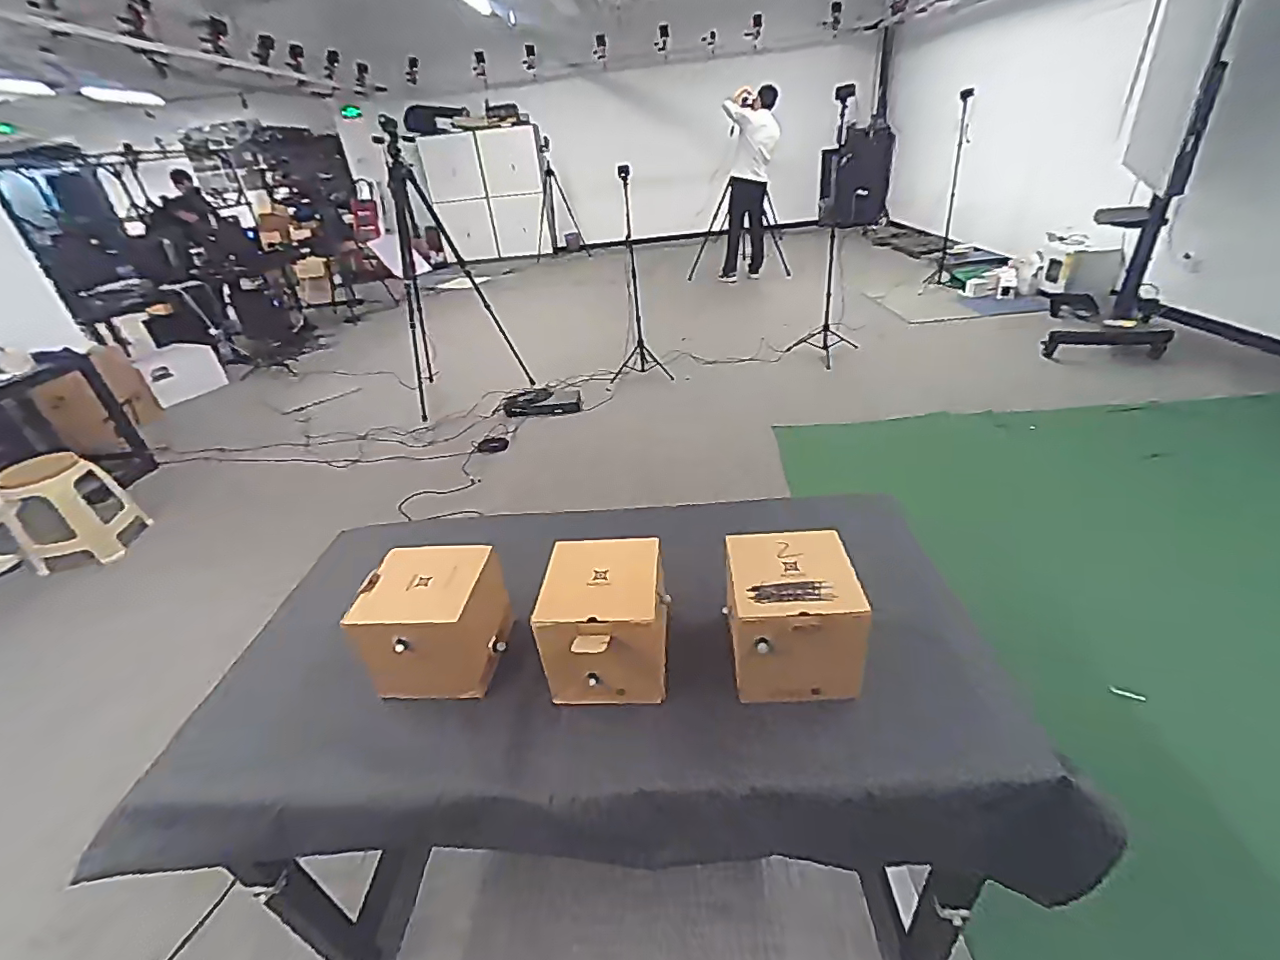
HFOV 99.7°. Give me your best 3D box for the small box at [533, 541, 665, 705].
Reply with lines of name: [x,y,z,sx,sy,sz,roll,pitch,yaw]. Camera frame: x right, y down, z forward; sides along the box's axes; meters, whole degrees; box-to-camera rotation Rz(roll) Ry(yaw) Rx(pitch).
small box: [-0.050,0.211,0.816,0.168,0.176,0.179,-3,32,6]

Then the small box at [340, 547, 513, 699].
small box: [-0.318,0.223,0.846,0.179,0.176,0.168,-2,33,6]
